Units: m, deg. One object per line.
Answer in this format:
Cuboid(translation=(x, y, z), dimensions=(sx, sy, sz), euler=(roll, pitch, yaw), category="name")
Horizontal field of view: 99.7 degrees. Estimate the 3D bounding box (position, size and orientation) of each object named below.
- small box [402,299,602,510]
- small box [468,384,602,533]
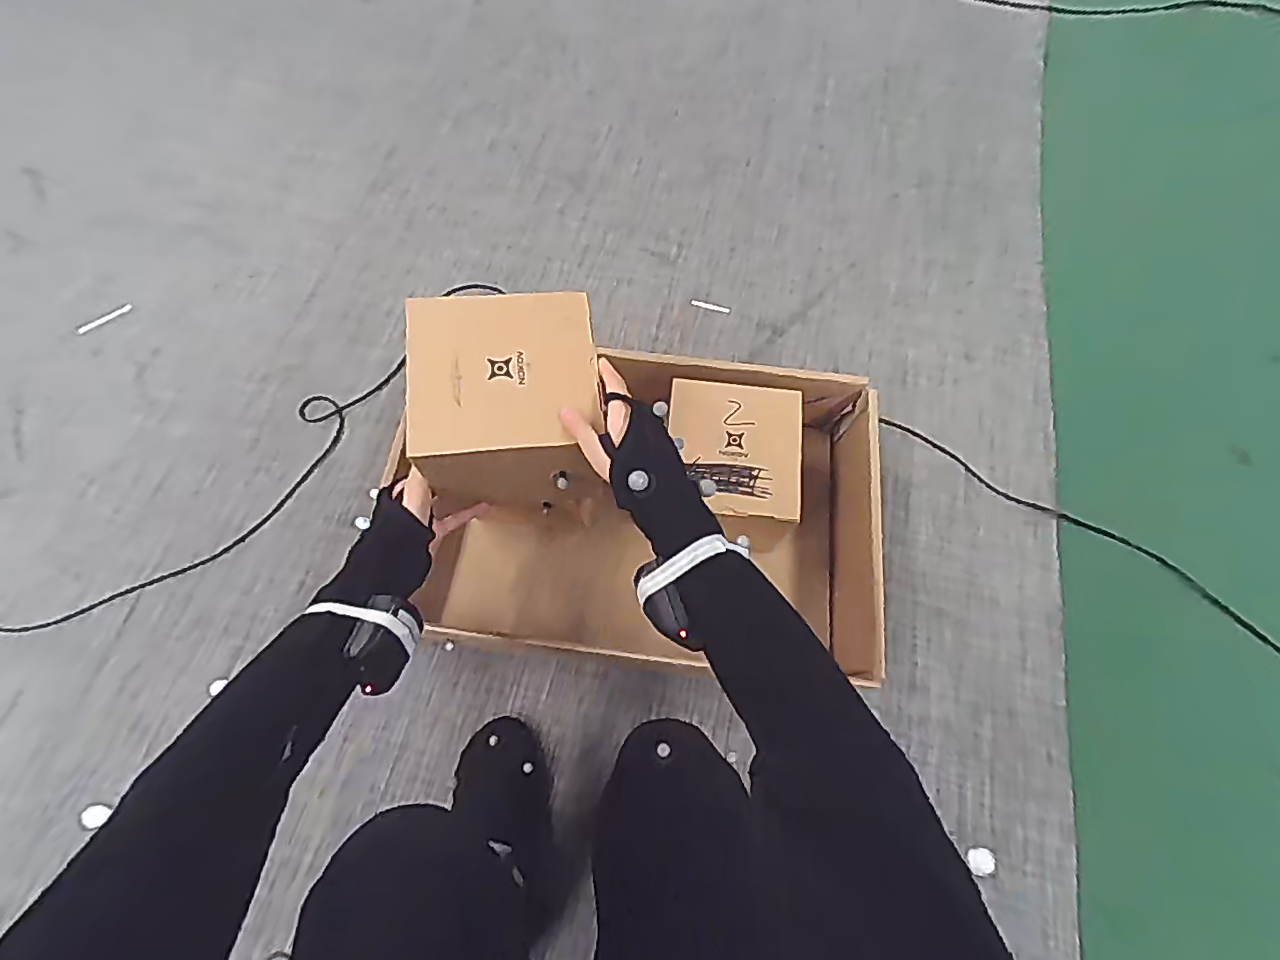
Cuboid(translation=(-0.137, -0.072, 0.579), dimensions=(0.179, 0.176, 0.168), euler=(-5, 71, -7), category="small box")
Cuboid(translation=(-0.152, -0.033, 0.741), dimensions=(0.179, 0.176, 0.168), euler=(9, 70, 1), category="small box")
